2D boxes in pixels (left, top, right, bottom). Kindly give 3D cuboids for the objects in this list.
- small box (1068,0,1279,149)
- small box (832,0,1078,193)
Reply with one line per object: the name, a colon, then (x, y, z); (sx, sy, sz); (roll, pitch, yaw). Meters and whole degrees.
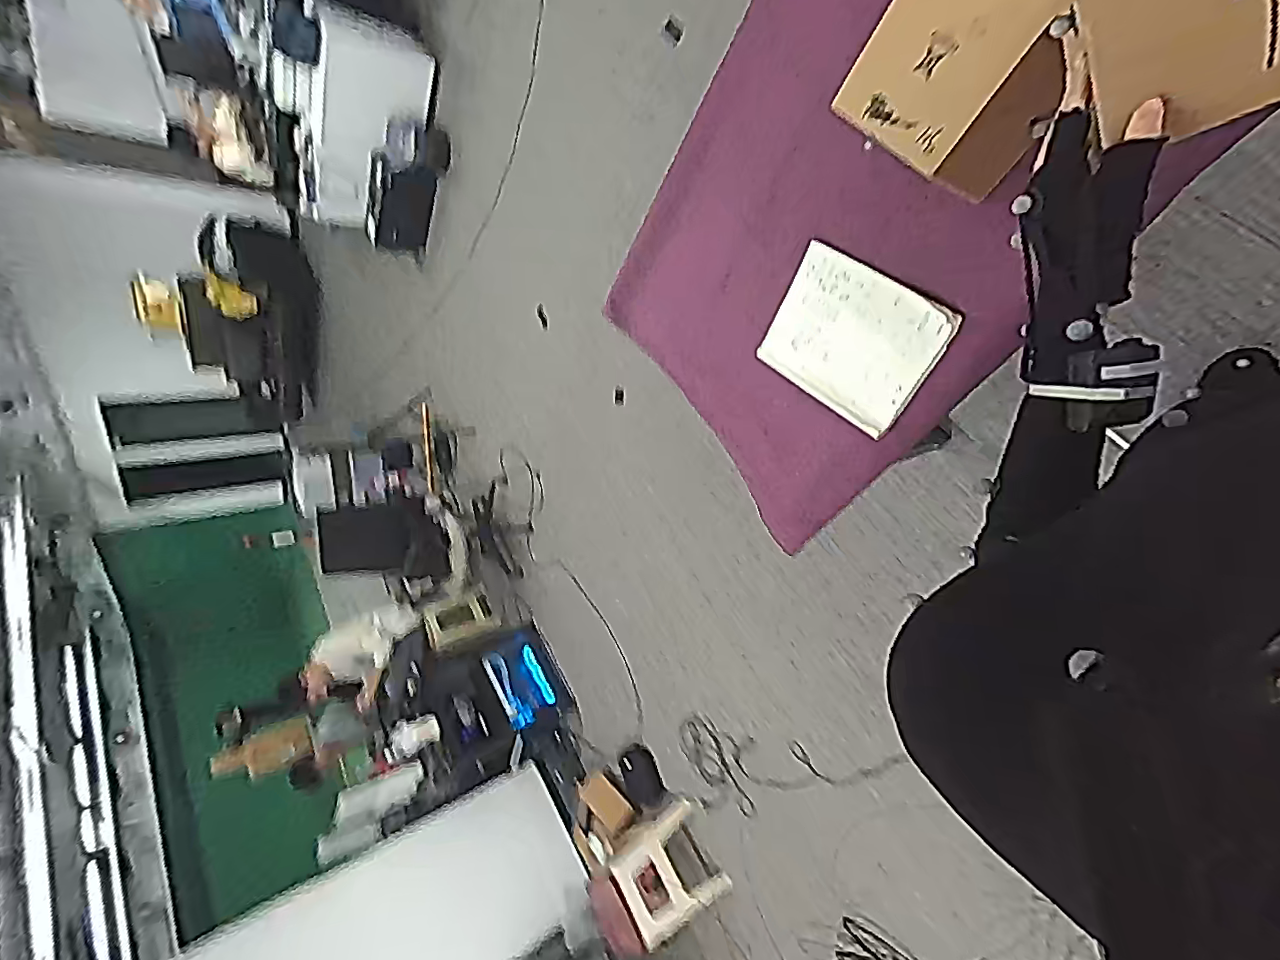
small box: (0.385, -0.348, 0.346); (0.168, 0.176, 0.179); (-9, 118, 39)
small box: (0.361, -0.456, 0.600); (0.168, 0.176, 0.179); (56, 135, 24)
